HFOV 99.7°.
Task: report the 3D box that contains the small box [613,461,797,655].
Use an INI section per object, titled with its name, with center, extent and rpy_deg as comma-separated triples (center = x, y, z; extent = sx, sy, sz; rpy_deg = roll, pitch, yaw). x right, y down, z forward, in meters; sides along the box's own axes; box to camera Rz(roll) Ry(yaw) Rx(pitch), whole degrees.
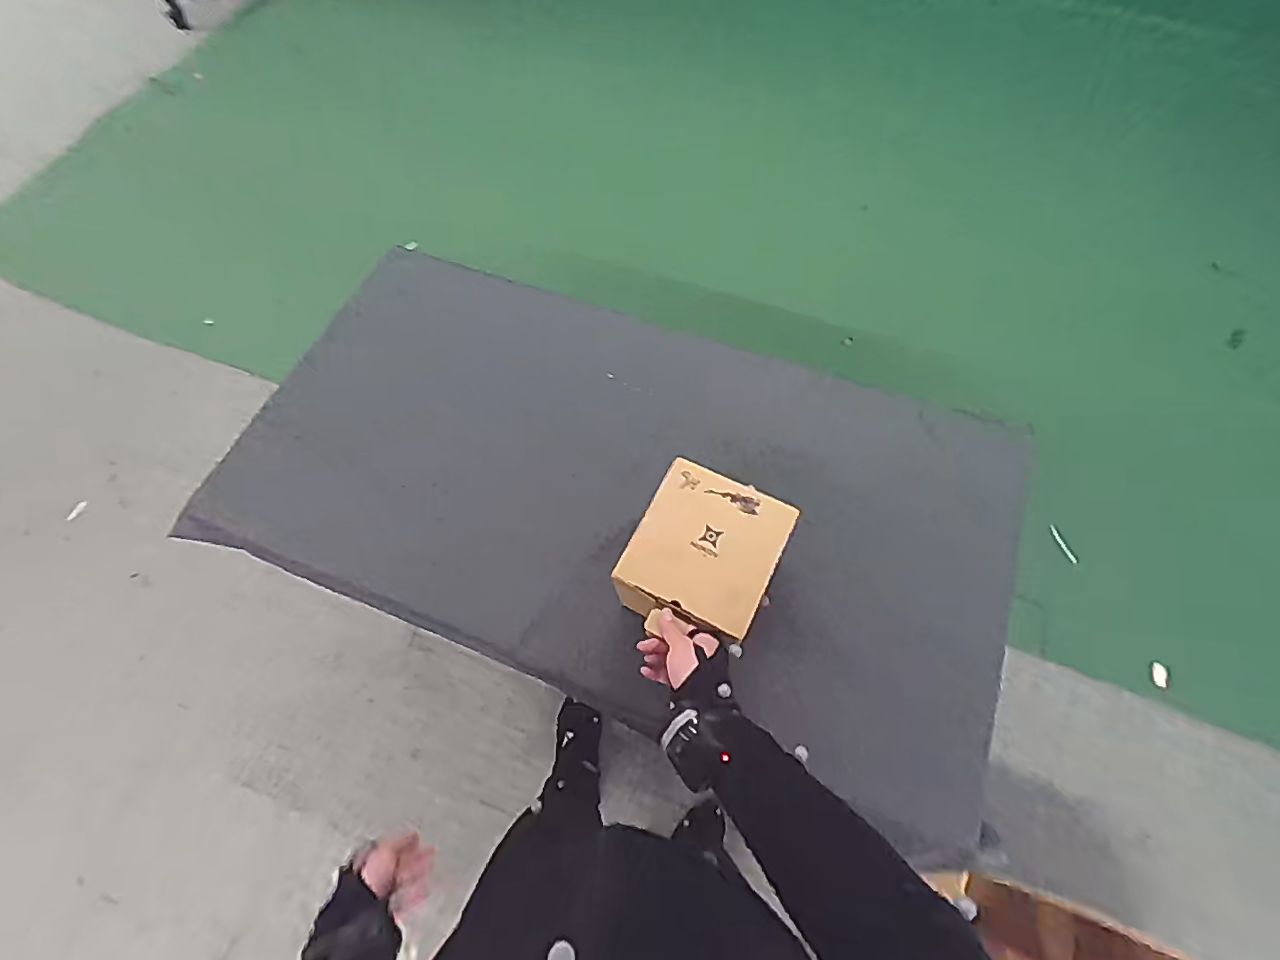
[small box]
center = 0.084, 0.111, 0.708
extent = 0.168, 0.176, 0.179
rpy_deg = 25, 69, 14
